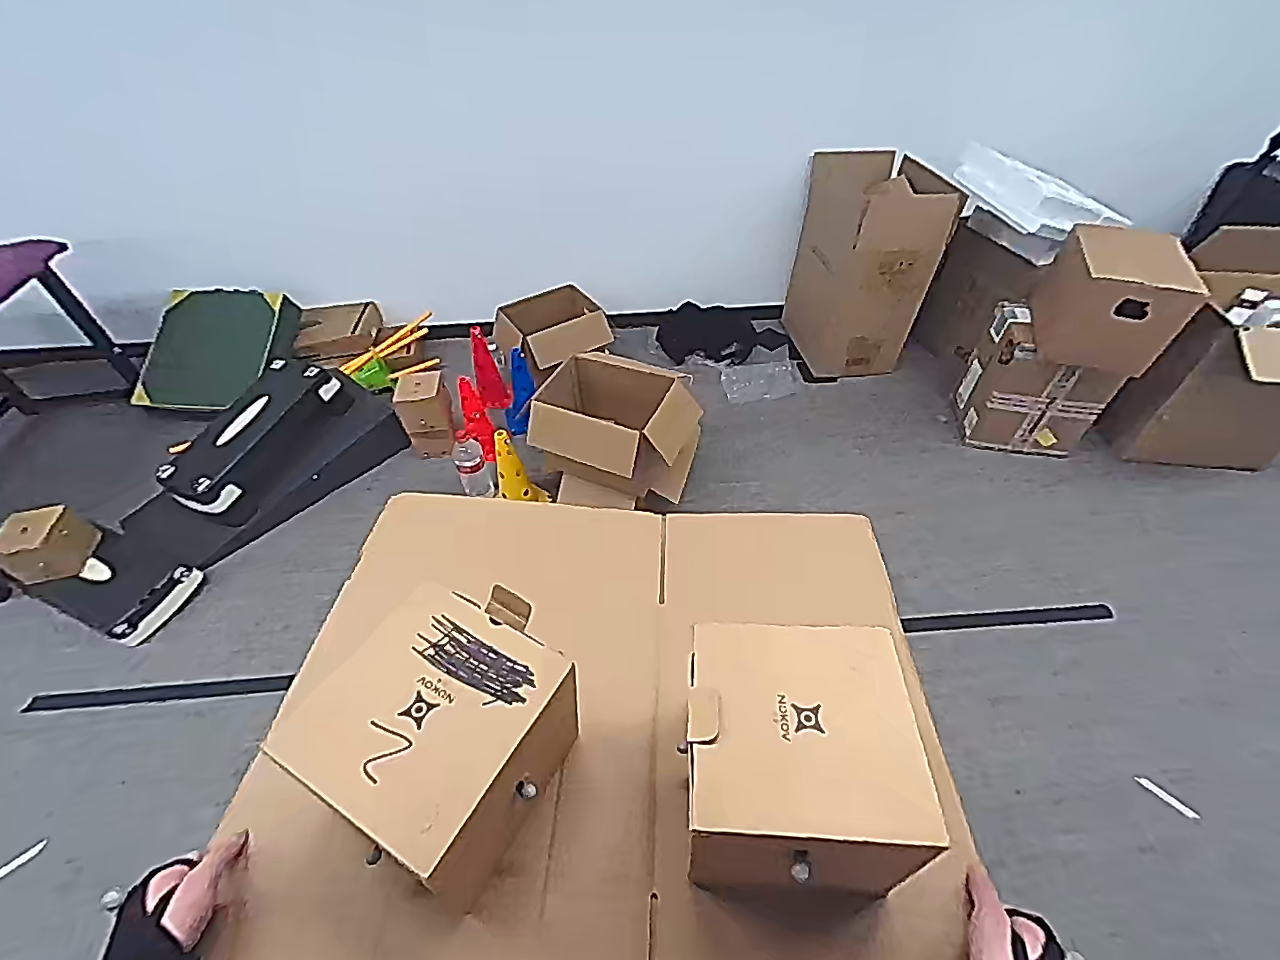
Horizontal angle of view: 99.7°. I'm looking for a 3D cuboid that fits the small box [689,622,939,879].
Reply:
[{"bbox_3d":[0.135,0.248,0.496,0.179,0.176,0.168,0,45,6],"label":"small box"}]
